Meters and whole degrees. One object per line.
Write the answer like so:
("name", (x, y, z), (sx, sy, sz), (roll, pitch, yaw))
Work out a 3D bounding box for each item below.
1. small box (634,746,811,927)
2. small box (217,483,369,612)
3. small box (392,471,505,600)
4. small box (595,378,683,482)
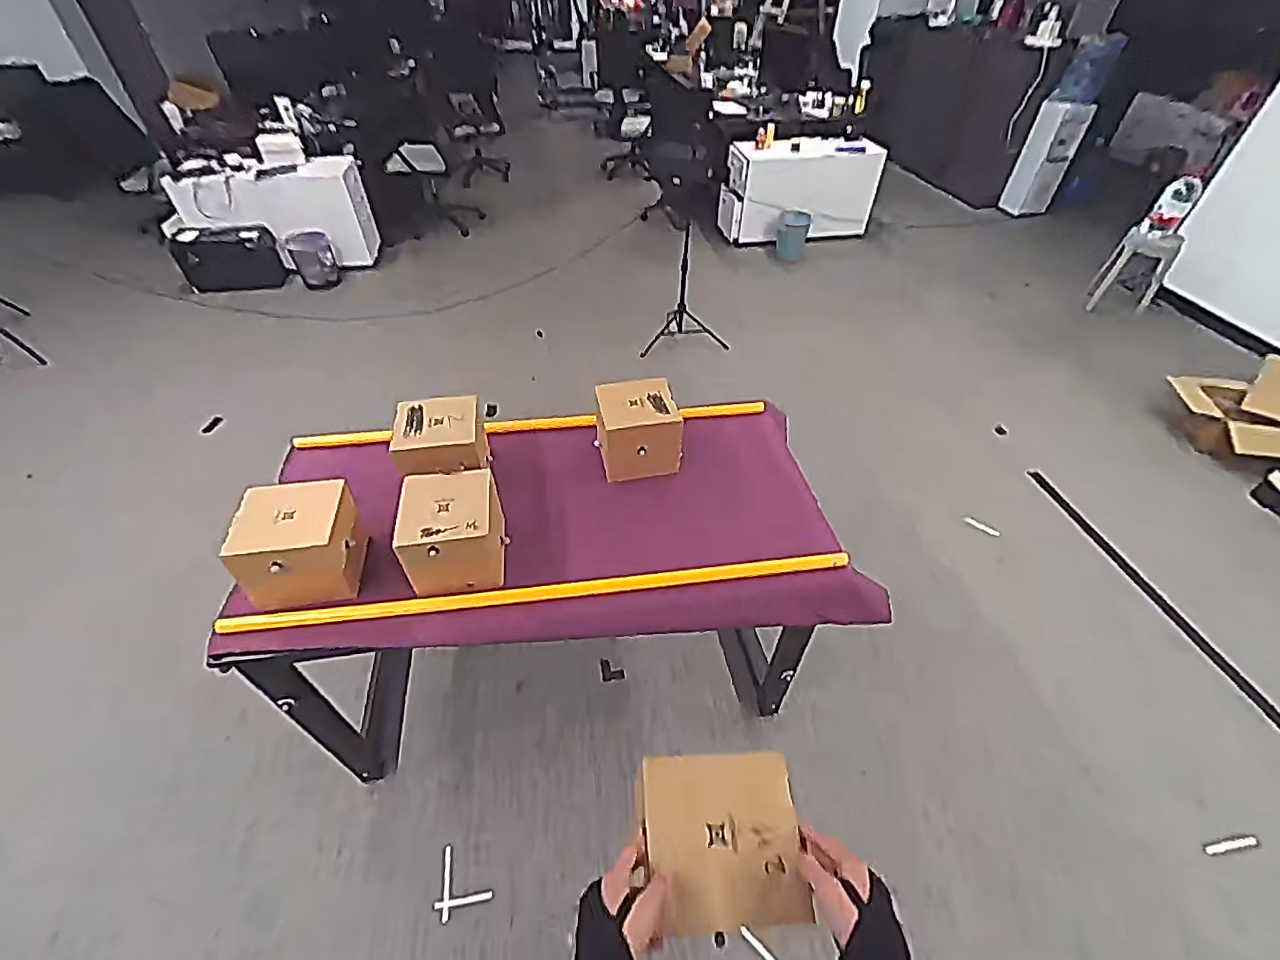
("small box", (0.083, 0.433, 0.659), (0.179, 0.176, 0.168), (-1, 54, -4))
("small box", (-0.639, 0.130, 1.028), (0.179, 0.176, 0.168), (-7, 45, -8))
("small box", (-0.361, 0.107, 1.053), (0.168, 0.176, 0.179), (-7, 45, -7))
("small box", (-0.007, -0.117, 1.279), (0.179, 0.176, 0.168), (-9, 47, -8))
